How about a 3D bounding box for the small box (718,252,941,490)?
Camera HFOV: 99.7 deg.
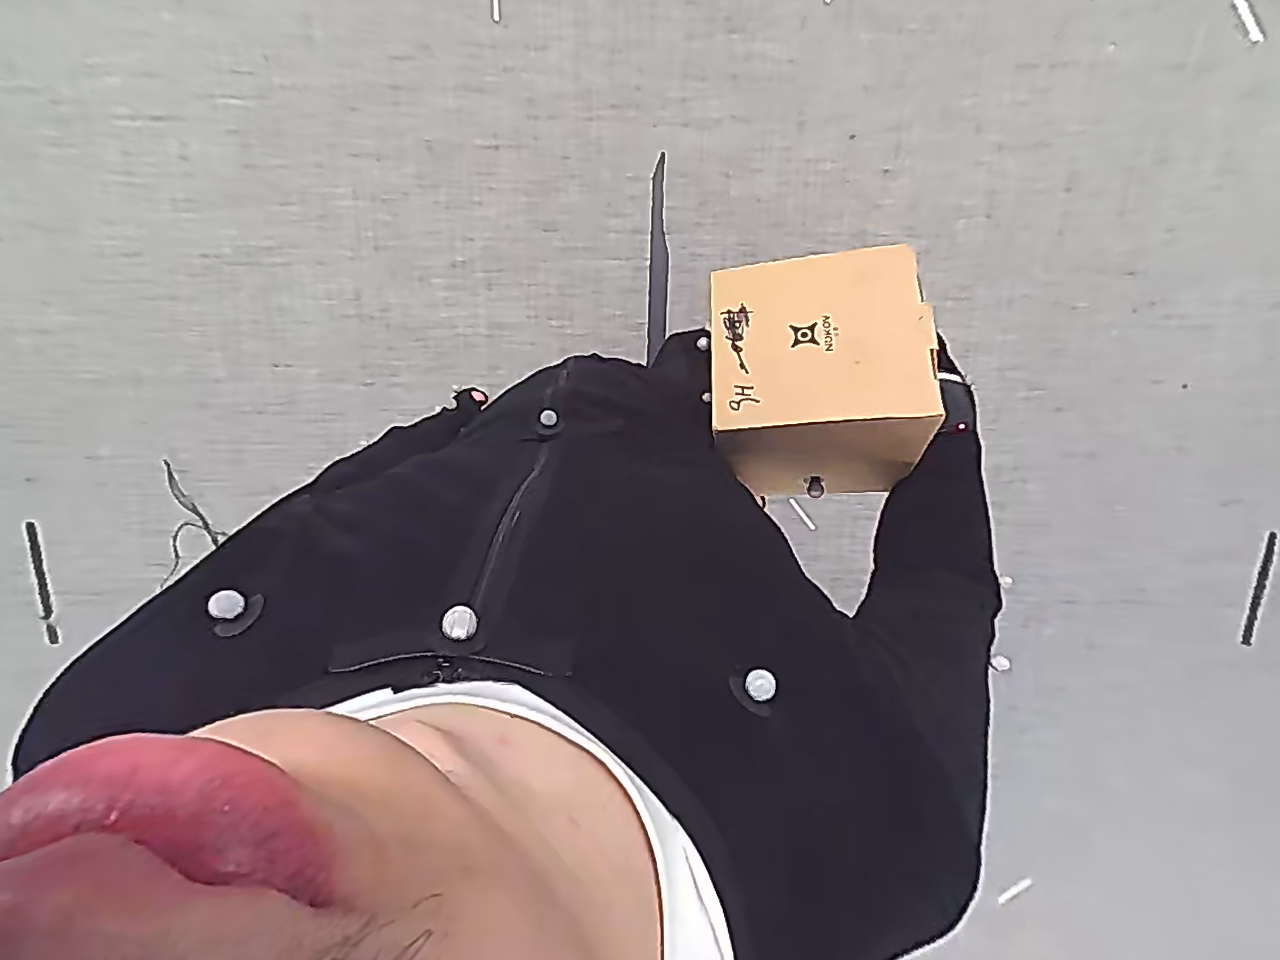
[{"bbox_3d":[0.171,-0.094,0.539,0.179,0.176,0.168,-2,68,13],"label":"small box"}]
